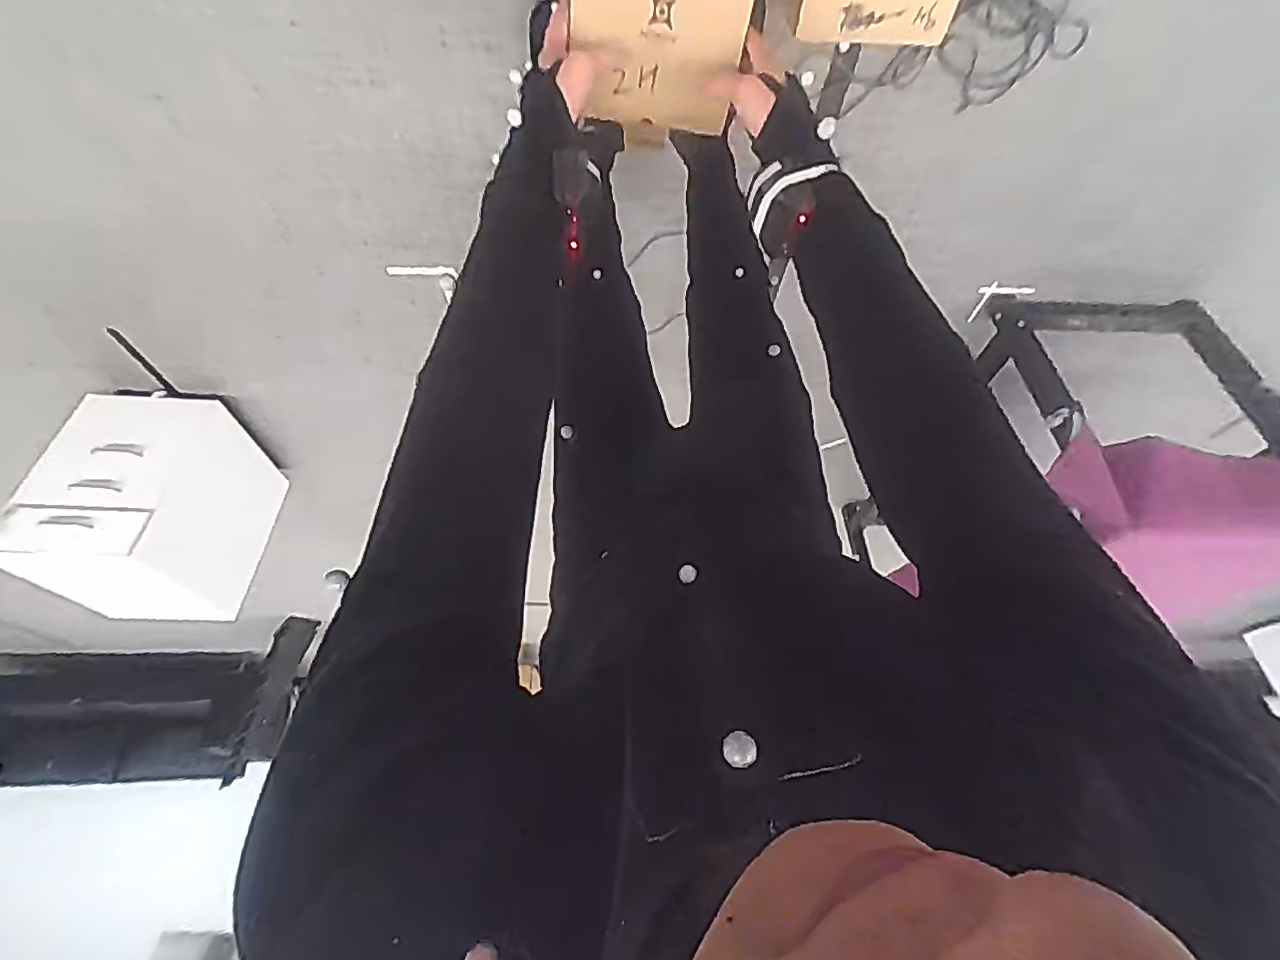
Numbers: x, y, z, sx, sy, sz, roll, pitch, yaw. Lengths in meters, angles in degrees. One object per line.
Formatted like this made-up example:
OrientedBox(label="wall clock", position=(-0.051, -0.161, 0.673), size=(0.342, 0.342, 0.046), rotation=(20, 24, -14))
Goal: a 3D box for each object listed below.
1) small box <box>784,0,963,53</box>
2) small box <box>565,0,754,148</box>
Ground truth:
OrientedBox(label="small box", position=(0.250, -0.582, 0.561), size=(0.168, 0.176, 0.179), rotation=(2, 146, -1))
OrientedBox(label="small box", position=(0.013, -0.471, 0.541), size=(0.168, 0.176, 0.179), rotation=(4, 144, -6))
